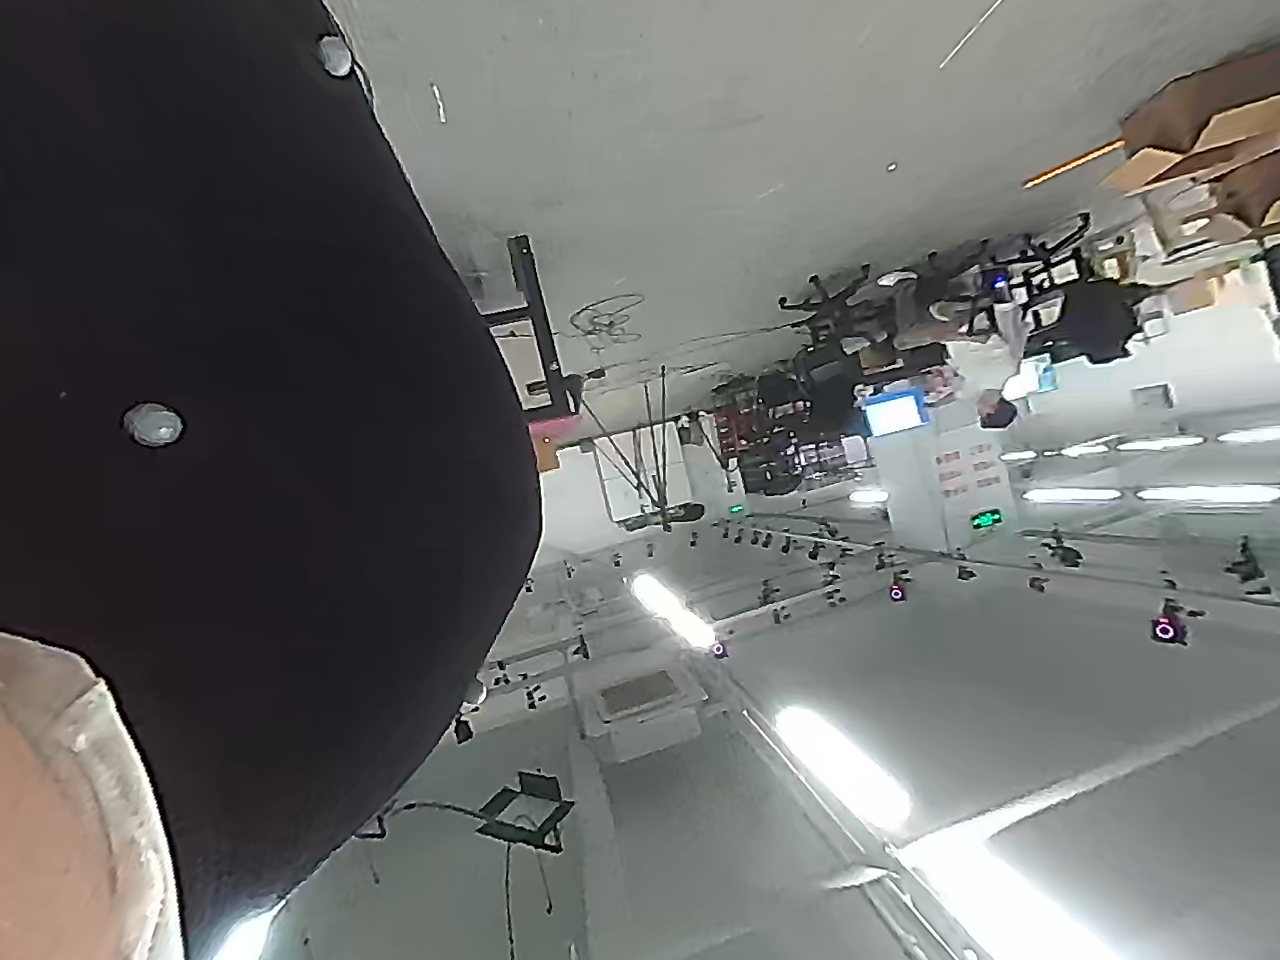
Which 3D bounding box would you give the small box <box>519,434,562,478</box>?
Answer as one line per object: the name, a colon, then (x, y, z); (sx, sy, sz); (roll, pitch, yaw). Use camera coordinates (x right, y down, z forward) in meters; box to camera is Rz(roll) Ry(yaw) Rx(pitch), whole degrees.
small box: (-0.468, -0.114, 2.525); (0.168, 0.176, 0.179); (-13, 179, -12)
